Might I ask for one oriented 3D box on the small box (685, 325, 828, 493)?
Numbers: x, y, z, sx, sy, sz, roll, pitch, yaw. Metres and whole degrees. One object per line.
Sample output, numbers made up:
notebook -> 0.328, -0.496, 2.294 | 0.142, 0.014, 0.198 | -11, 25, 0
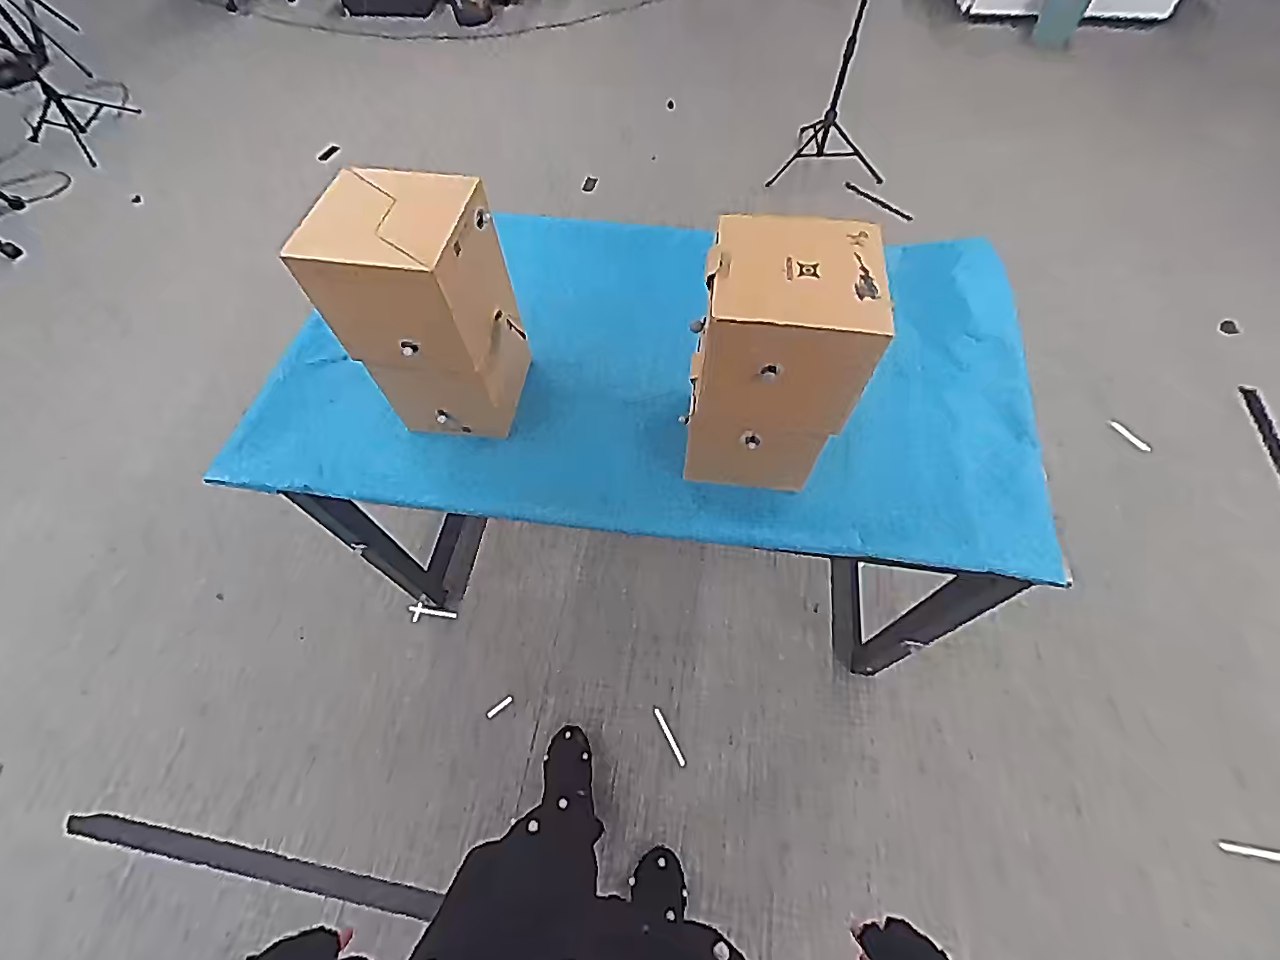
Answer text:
small box -> 0.159, -0.095, 0.762 | 0.179, 0.176, 0.168 | 7, 61, 6

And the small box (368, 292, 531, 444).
small box -> -0.278, -0.180, 0.827 | 0.168, 0.176, 0.179 | 8, 63, 8

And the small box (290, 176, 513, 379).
small box -> -0.282, -0.251, 0.676 | 0.179, 0.176, 0.168 | 8, 61, 6

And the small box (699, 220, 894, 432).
small box -> 0.161, -0.168, 0.617 | 0.179, 0.176, 0.168 | 4, 60, 3
